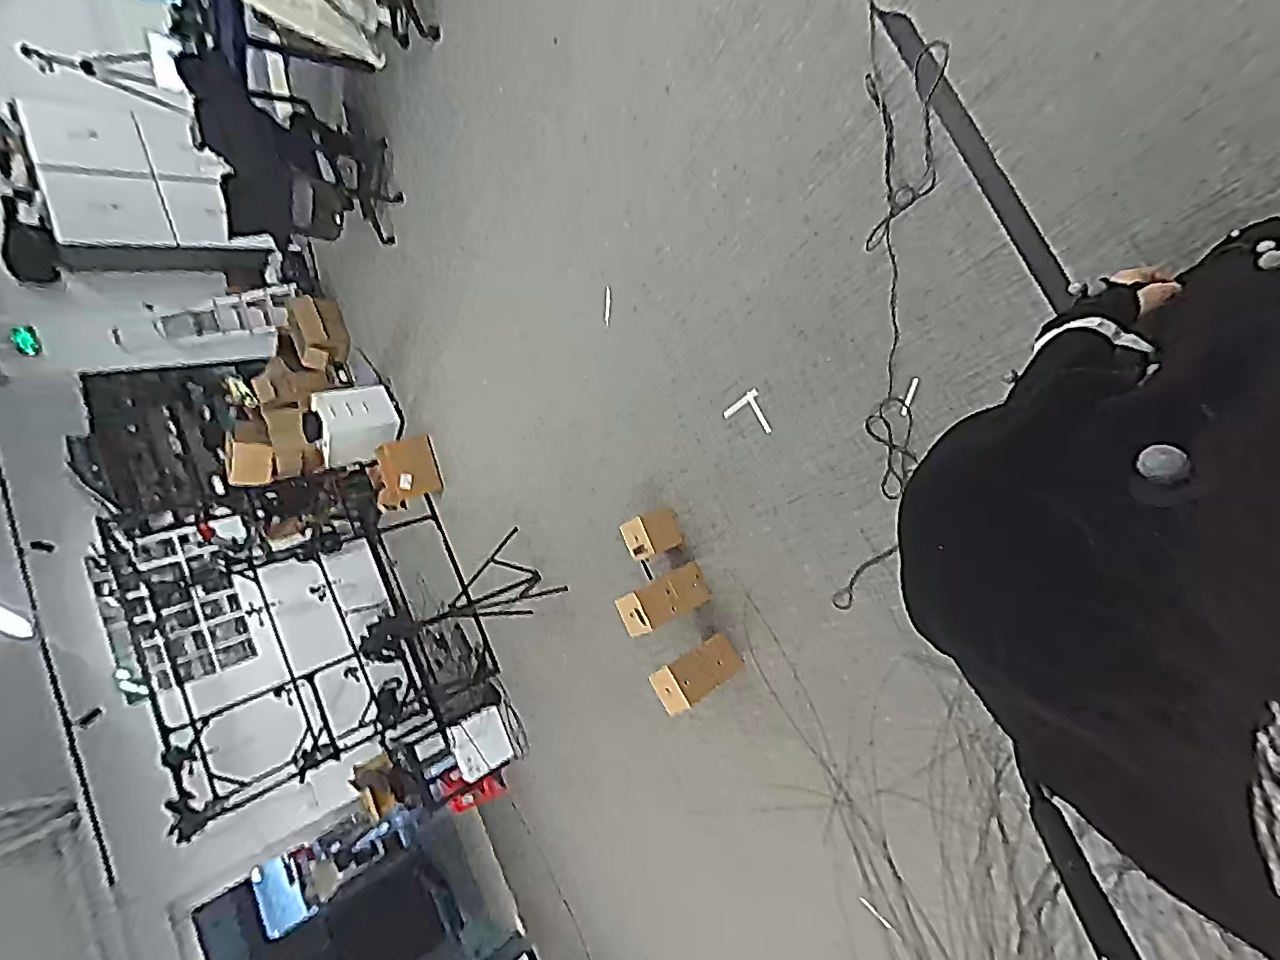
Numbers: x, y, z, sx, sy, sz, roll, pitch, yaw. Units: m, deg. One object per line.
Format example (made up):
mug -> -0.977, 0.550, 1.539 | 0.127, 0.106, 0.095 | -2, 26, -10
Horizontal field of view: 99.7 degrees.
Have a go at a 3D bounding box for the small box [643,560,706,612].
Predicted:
small box -> 0.150, 0.459, 2.308 | 0.179, 0.176, 0.168 | -30, 82, 50

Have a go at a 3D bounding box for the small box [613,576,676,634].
small box -> 0.025, 0.508, 2.212 | 0.179, 0.176, 0.168 | -36, 76, 51

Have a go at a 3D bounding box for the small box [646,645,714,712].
small box -> 0.164, 0.796, 2.168 | 0.179, 0.176, 0.168 | 58, 138, 17

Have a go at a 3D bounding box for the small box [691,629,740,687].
small box -> 0.286, 0.757, 2.269 | 0.179, 0.176, 0.168 | 56, 138, 17
